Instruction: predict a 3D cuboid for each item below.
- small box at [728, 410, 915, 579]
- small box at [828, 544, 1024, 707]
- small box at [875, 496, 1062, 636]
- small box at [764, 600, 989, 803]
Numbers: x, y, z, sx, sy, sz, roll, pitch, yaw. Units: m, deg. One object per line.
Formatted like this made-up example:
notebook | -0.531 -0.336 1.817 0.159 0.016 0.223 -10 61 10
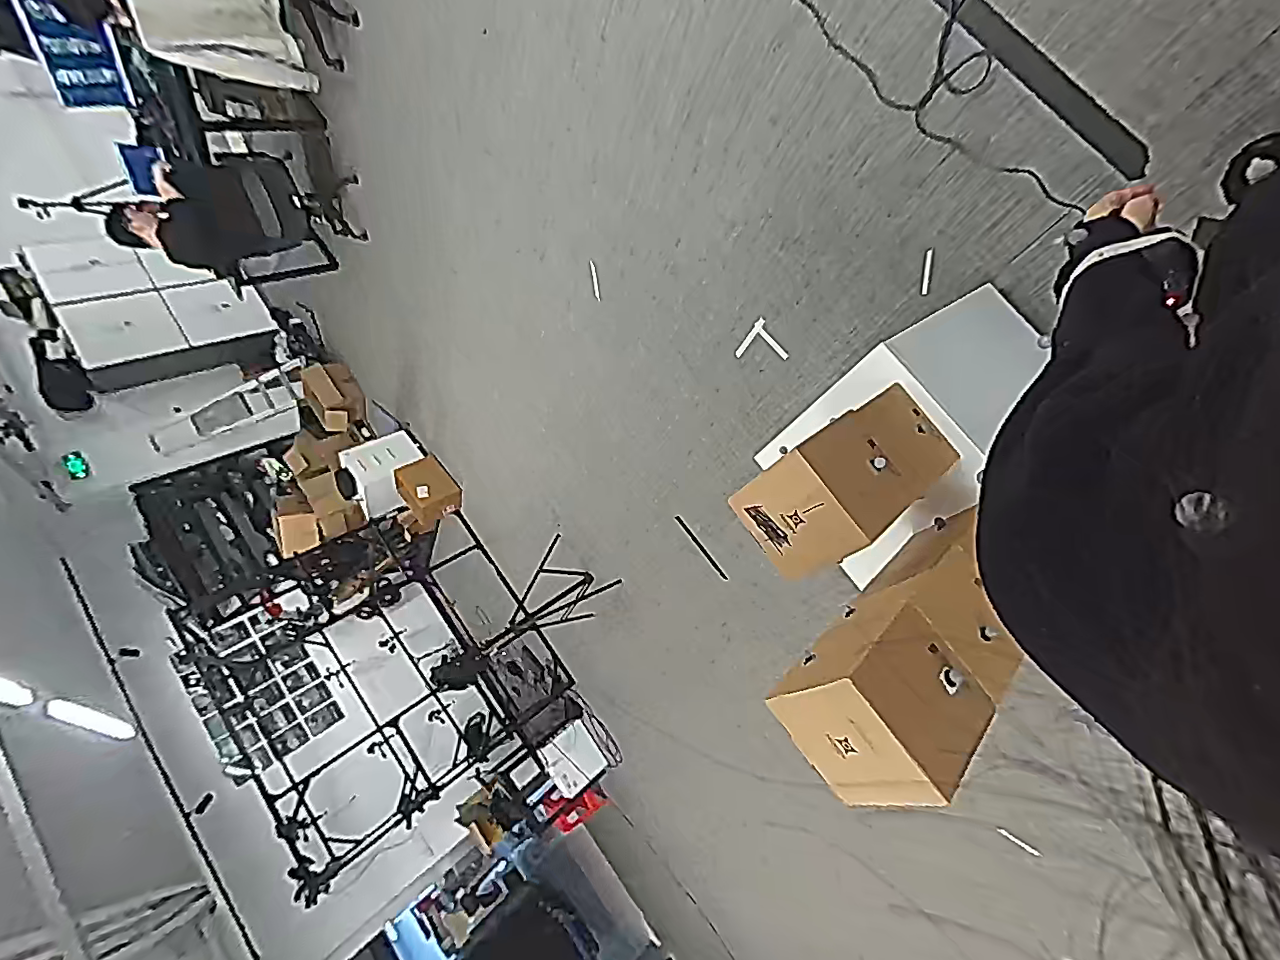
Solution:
small box | 0.278 0.022 0.831 0.168 0.176 0.179 54 143 8
small box | 0.423 0.220 0.796 0.168 0.176 0.179 52 145 11
small box | 0.538 0.155 0.889 0.168 0.176 0.179 53 146 9
small box | 0.305 0.286 0.705 0.168 0.176 0.179 52 144 11
